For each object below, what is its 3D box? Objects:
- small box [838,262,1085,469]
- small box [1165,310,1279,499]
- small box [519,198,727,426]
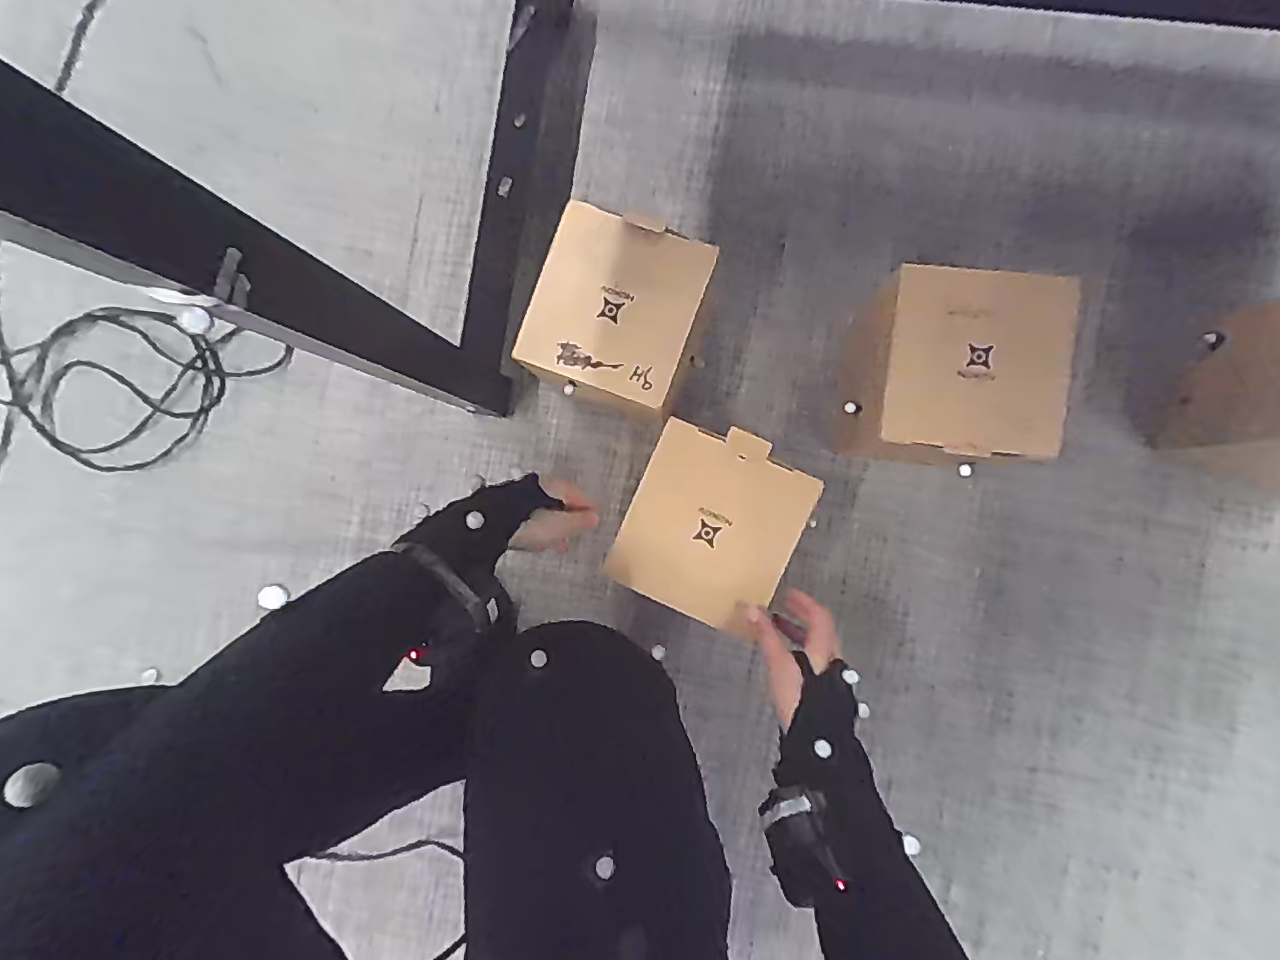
[{"bbox_3d":[0.326,-0.109,0.586,0.168,0.176,0.179,8,88,4],"label":"small box"},{"bbox_3d":[0.711,-0.075,0.549,0.179,0.176,0.168,23,91,4],"label":"small box"},{"bbox_3d":[-0.012,-0.176,0.620,0.168,0.176,0.179,21,90,7],"label":"small box"}]
